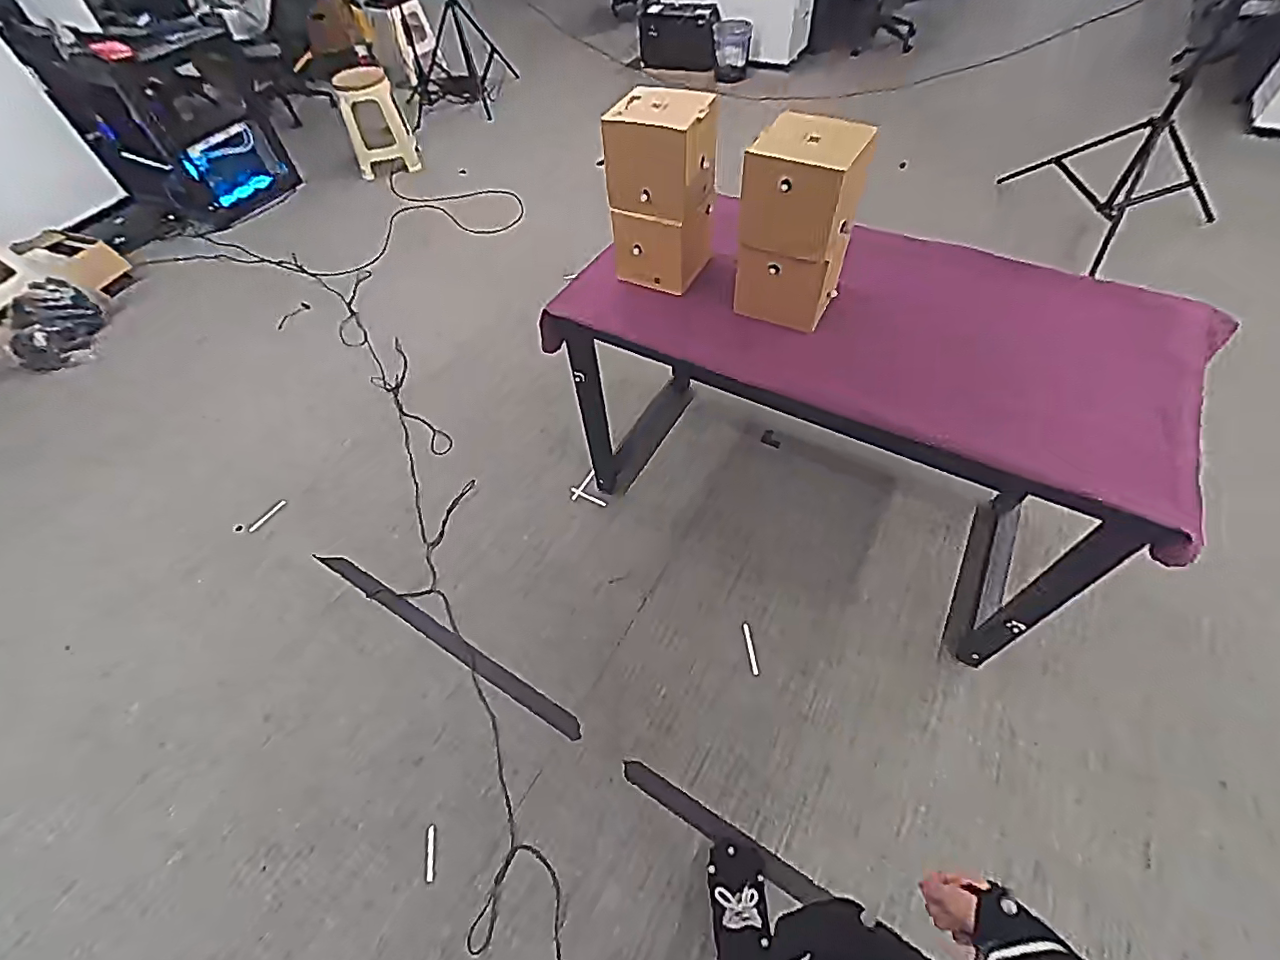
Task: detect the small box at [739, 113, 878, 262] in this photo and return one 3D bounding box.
[{"bbox_3d":[0.291,-0.520,0.970,0.179,0.176,0.168,26,61,19],"label":"small box"}]

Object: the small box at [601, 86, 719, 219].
[{"bbox_3d":[0.043,-0.649,1.079,0.179,0.176,0.168,20,57,17],"label":"small box"}]

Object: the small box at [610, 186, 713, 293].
[{"bbox_3d":[0.053,-0.545,1.206,0.168,0.176,0.179,21,58,18],"label":"small box"}]

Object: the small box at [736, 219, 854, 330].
[{"bbox_3d":[0.308,-0.435,1.107,0.179,0.176,0.168,23,59,18],"label":"small box"}]
